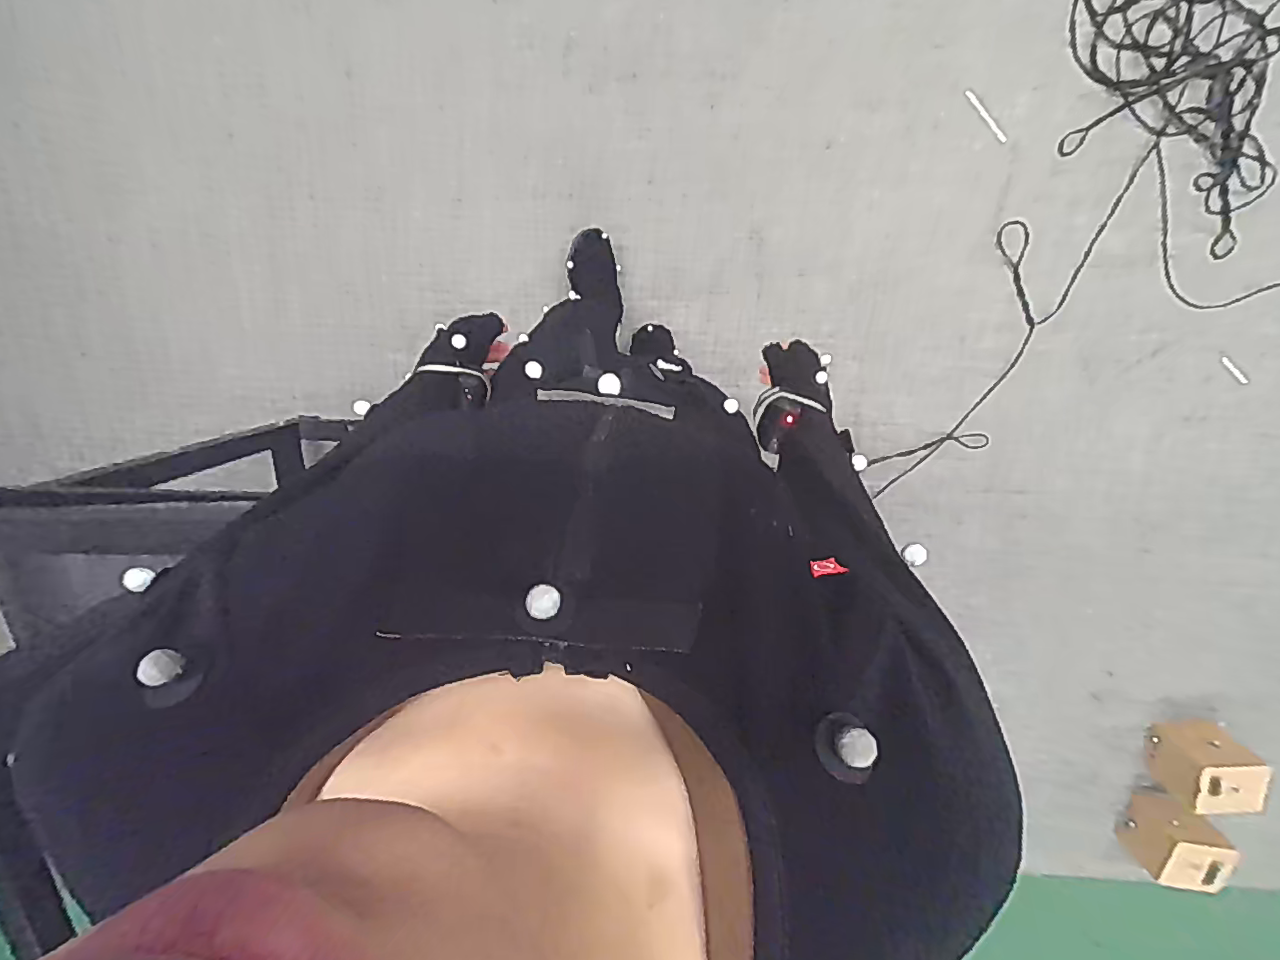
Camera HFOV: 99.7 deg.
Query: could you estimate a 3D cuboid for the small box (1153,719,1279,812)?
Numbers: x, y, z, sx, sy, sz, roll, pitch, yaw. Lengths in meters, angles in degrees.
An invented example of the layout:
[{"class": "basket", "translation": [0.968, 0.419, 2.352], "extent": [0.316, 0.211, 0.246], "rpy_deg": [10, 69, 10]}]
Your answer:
[{"class": "small box", "translation": [1.629, 0.808, 1.540], "extent": [0.179, 0.176, 0.168], "rpy_deg": [-6, 107, 5]}]
